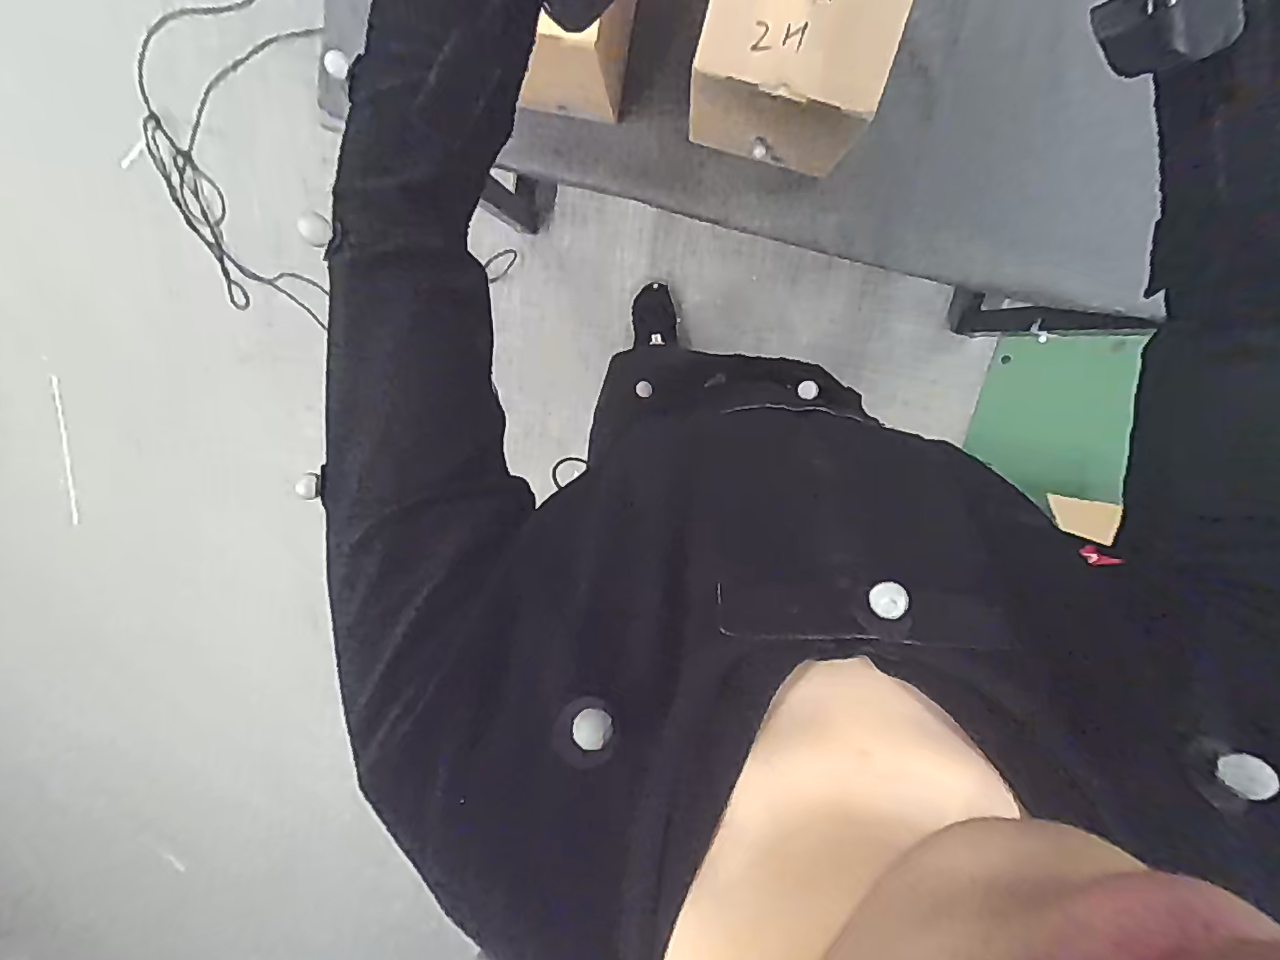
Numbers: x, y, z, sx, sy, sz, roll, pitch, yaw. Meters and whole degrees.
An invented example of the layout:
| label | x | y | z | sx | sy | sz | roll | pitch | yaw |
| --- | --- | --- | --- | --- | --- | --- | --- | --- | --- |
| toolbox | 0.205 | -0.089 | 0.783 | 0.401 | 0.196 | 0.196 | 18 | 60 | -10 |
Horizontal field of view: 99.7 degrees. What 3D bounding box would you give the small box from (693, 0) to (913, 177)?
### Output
| label | x | y | z | sx | sy | sz | roll | pitch | yaw |
| --- | --- | --- | --- | --- | --- | --- | --- | --- | --- |
| small box | 0.152 | -0.432 | 0.530 | 0.168 | 0.176 | 0.179 | 15 | 104 | 0 |
